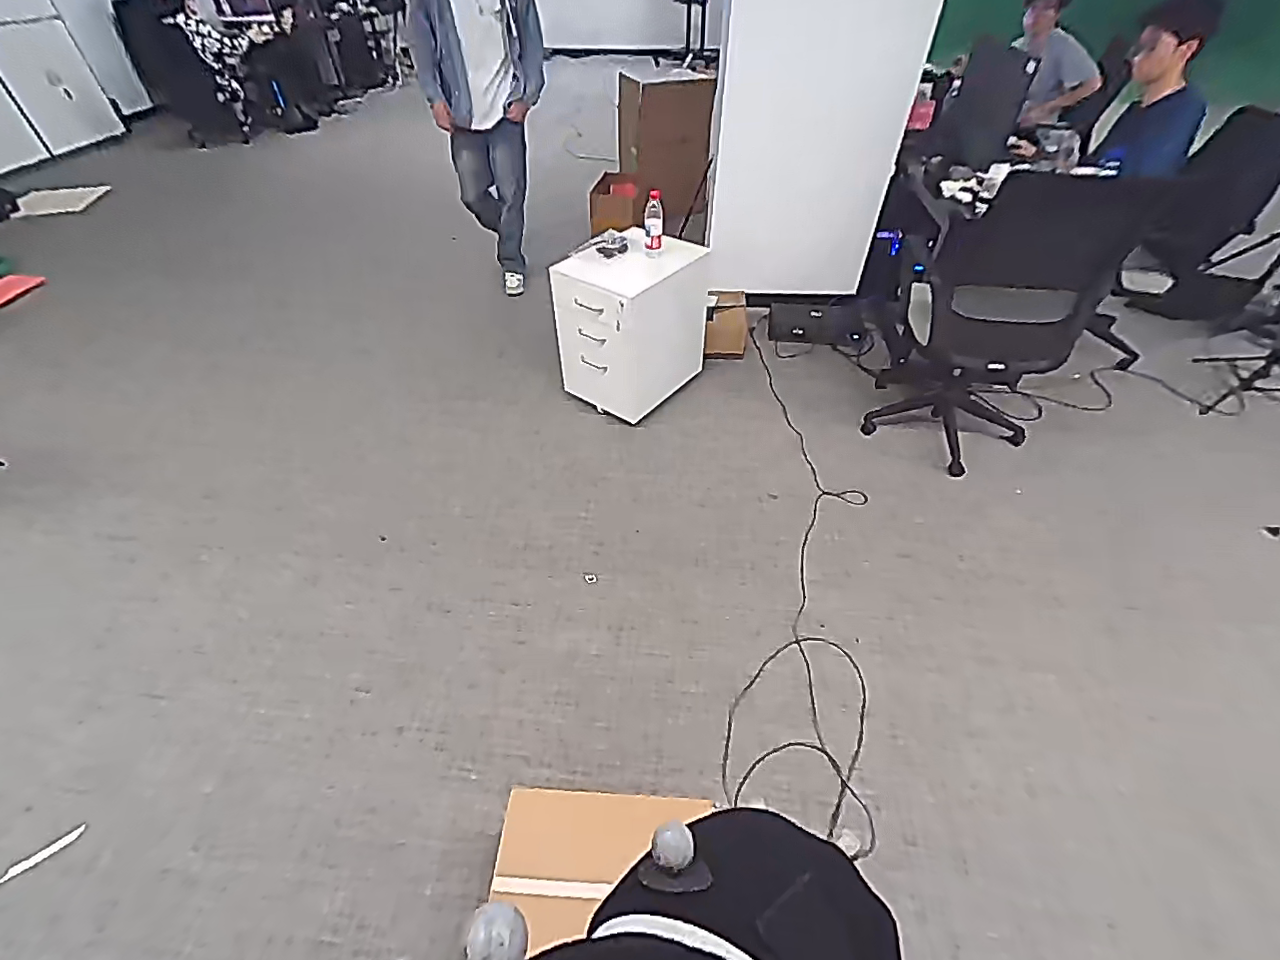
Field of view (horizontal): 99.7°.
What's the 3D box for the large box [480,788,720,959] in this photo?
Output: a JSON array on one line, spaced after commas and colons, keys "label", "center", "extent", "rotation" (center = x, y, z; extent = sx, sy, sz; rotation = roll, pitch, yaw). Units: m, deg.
[{"label": "large box", "center": [-0.065, 0.835, 1.063], "extent": [0.408, 0.320, 0.320], "rotation": [3, 44, 2]}]
